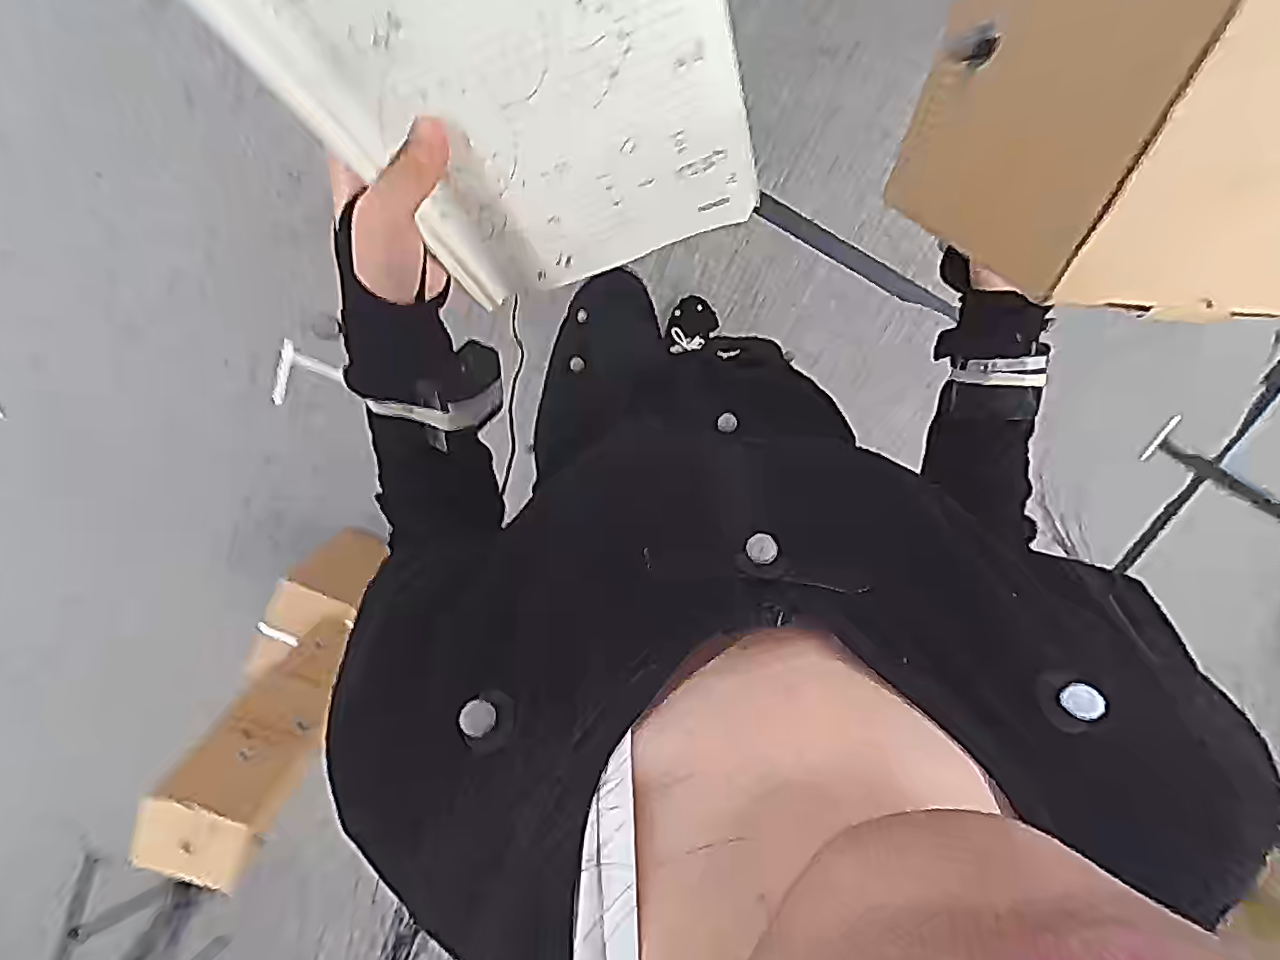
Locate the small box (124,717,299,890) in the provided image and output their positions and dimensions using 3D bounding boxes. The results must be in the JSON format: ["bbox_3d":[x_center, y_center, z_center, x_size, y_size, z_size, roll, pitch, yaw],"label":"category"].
[{"bbox_3d":[-0.741,0.561,0.952,0.168,0.176,0.179,24,108,-10],"label":"small box"}]

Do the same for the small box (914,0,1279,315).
[{"bbox_3d":[0.268,-0.200,0.259,0.168,0.176,0.179,0,132,-11],"label":"small box"}]

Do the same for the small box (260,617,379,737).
[{"bbox_3d":[-0.739,0.452,1.262,0.168,0.176,0.179,22,109,-8],"label":"small box"}]
